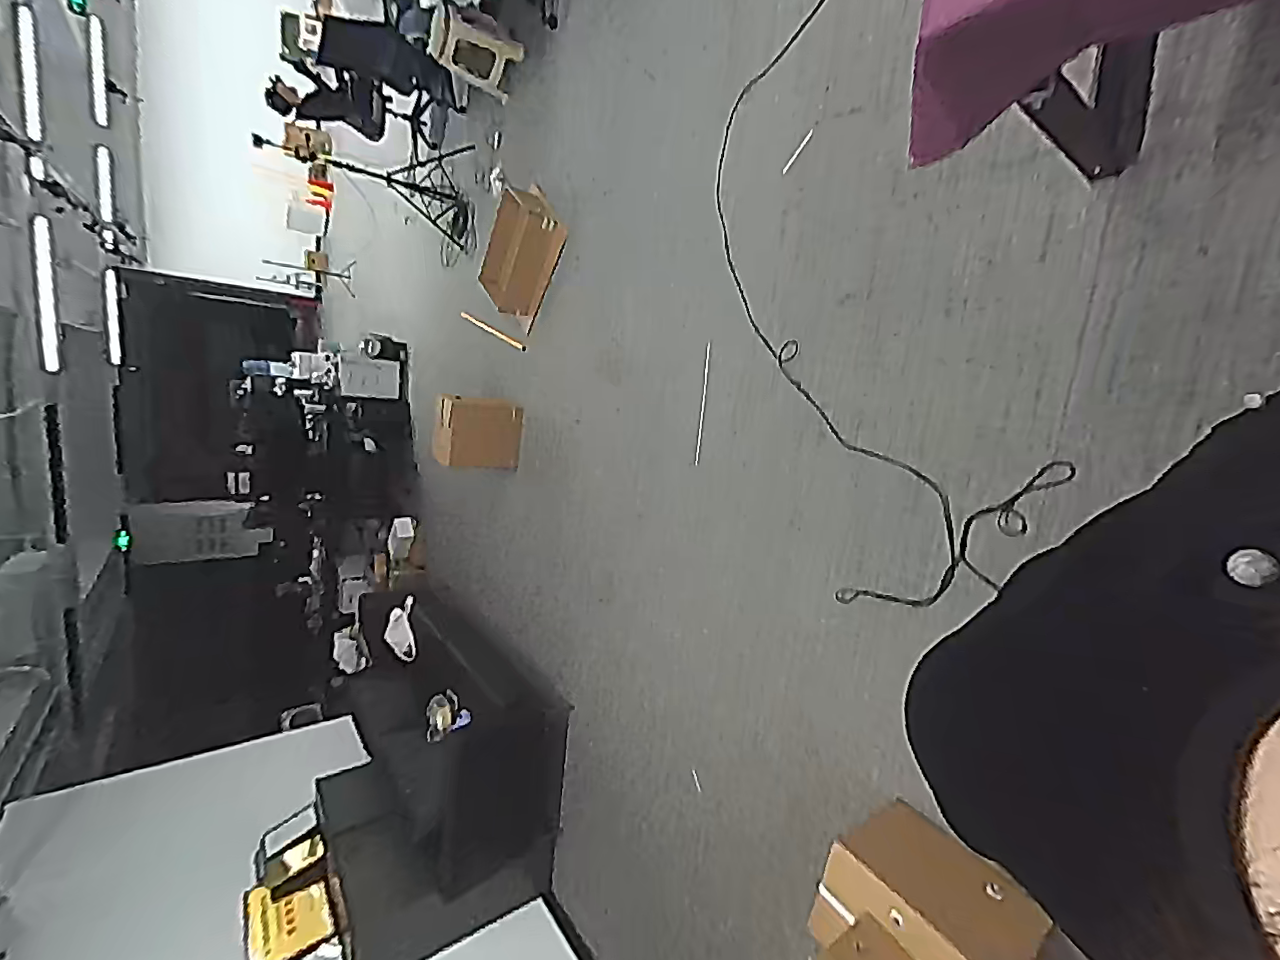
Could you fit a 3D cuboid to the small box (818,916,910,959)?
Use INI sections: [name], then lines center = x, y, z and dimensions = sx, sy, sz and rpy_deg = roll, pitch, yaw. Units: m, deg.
[small box]
center = 0.514, 1.155, 1.239
dimensions = 0.179, 0.176, 0.168
rpy_deg = 29, 117, 48
